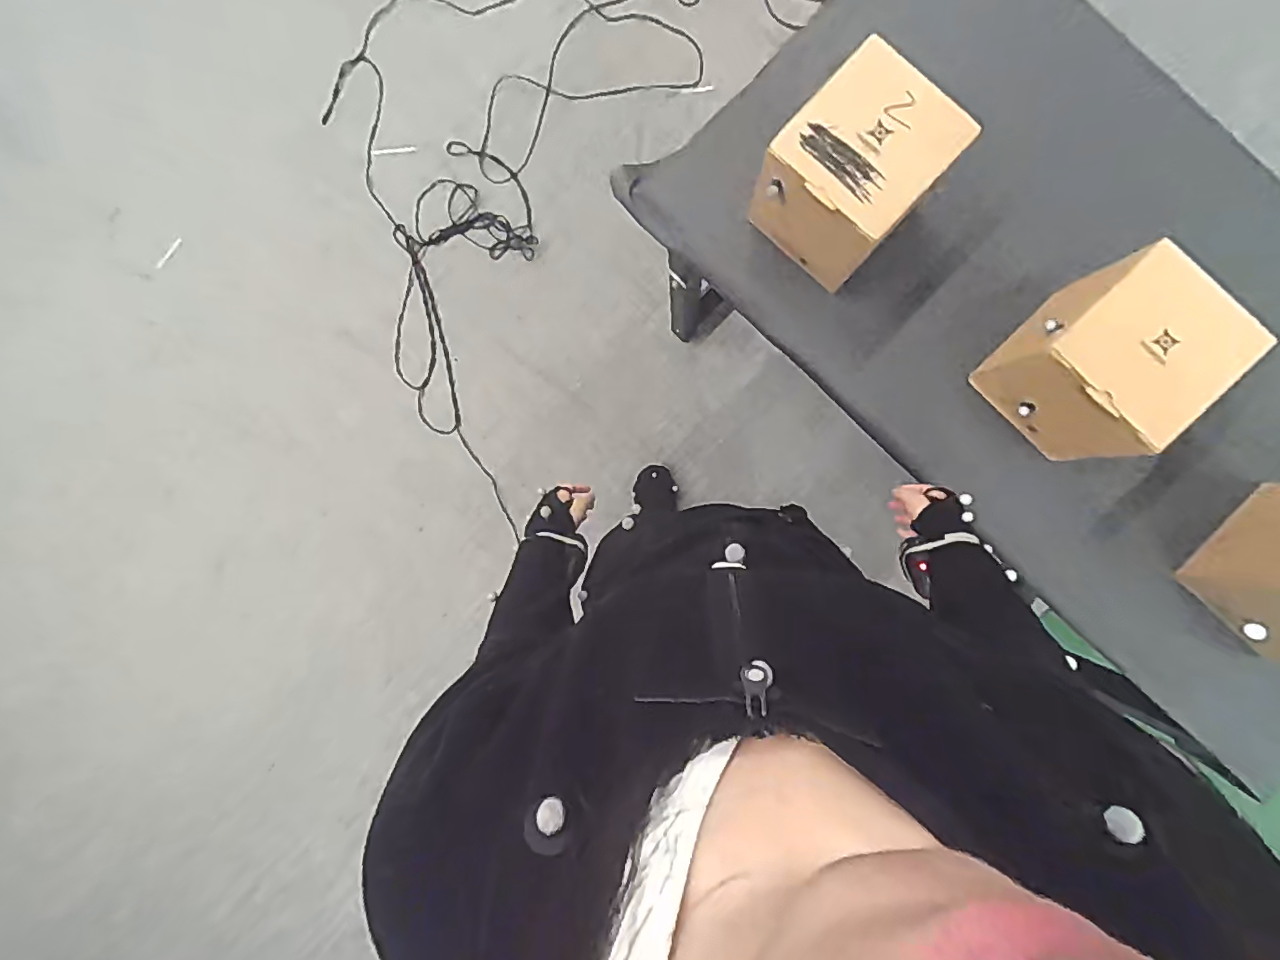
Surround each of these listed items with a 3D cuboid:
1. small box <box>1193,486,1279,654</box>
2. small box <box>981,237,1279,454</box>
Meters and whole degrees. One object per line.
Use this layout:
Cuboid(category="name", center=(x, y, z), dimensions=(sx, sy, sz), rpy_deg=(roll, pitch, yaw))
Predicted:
Cuboid(category="small box", center=(0.844, 0.116, 0.641), dimensions=(0.168, 0.176, 0.179), rpy_deg=(44, 93, 5))
Cuboid(category="small box", center=(0.576, -0.149, 0.667), dimensions=(0.179, 0.176, 0.168), rpy_deg=(-45, 87, 3))
